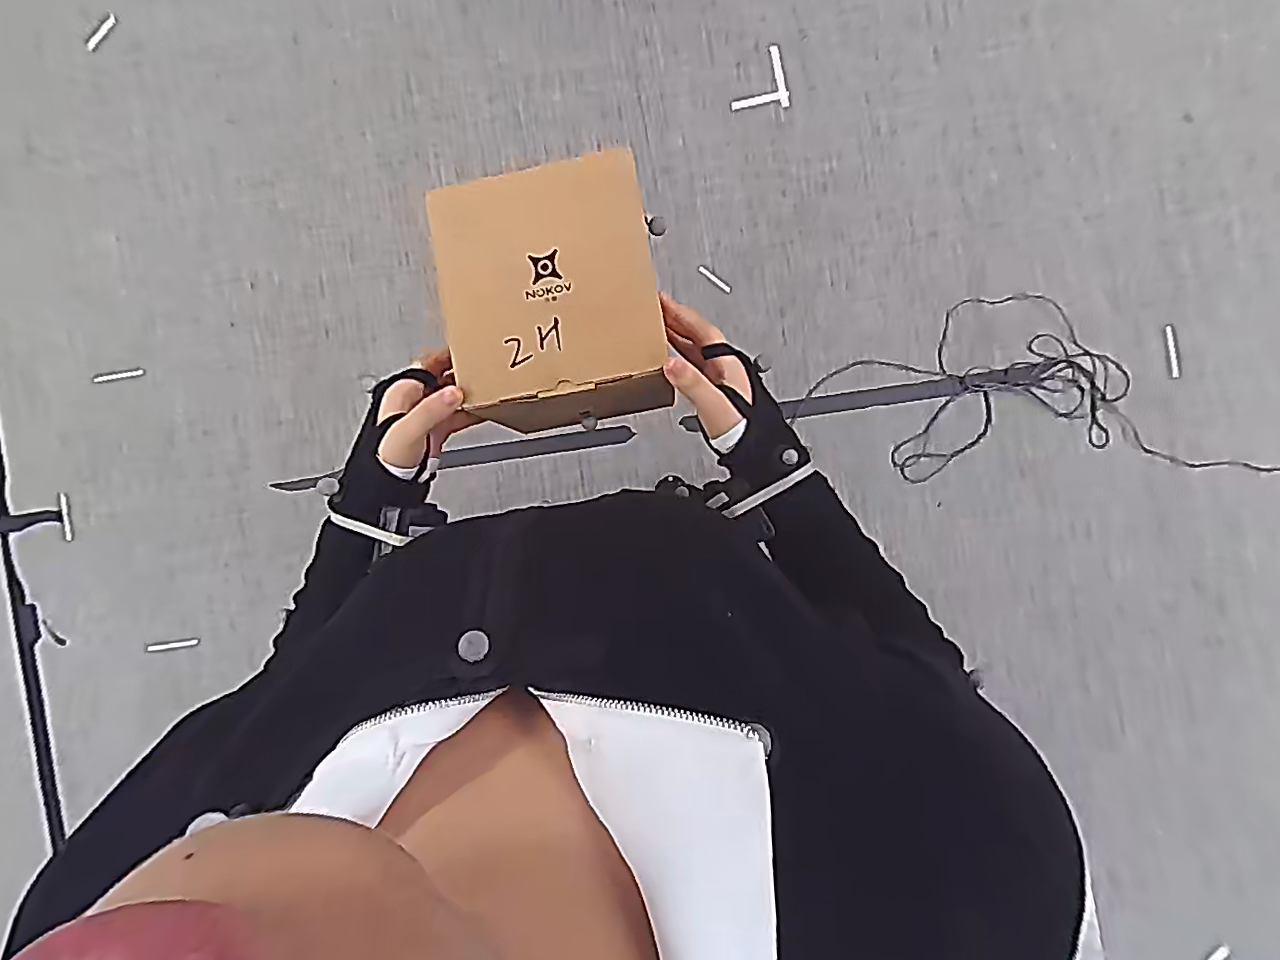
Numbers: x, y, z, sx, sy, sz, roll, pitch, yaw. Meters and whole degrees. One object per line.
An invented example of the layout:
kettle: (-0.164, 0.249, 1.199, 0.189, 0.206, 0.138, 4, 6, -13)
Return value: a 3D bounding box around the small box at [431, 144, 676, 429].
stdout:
small box: (-0.063, -0.153, 0.486, 0.168, 0.176, 0.179, -10, 88, 4)
